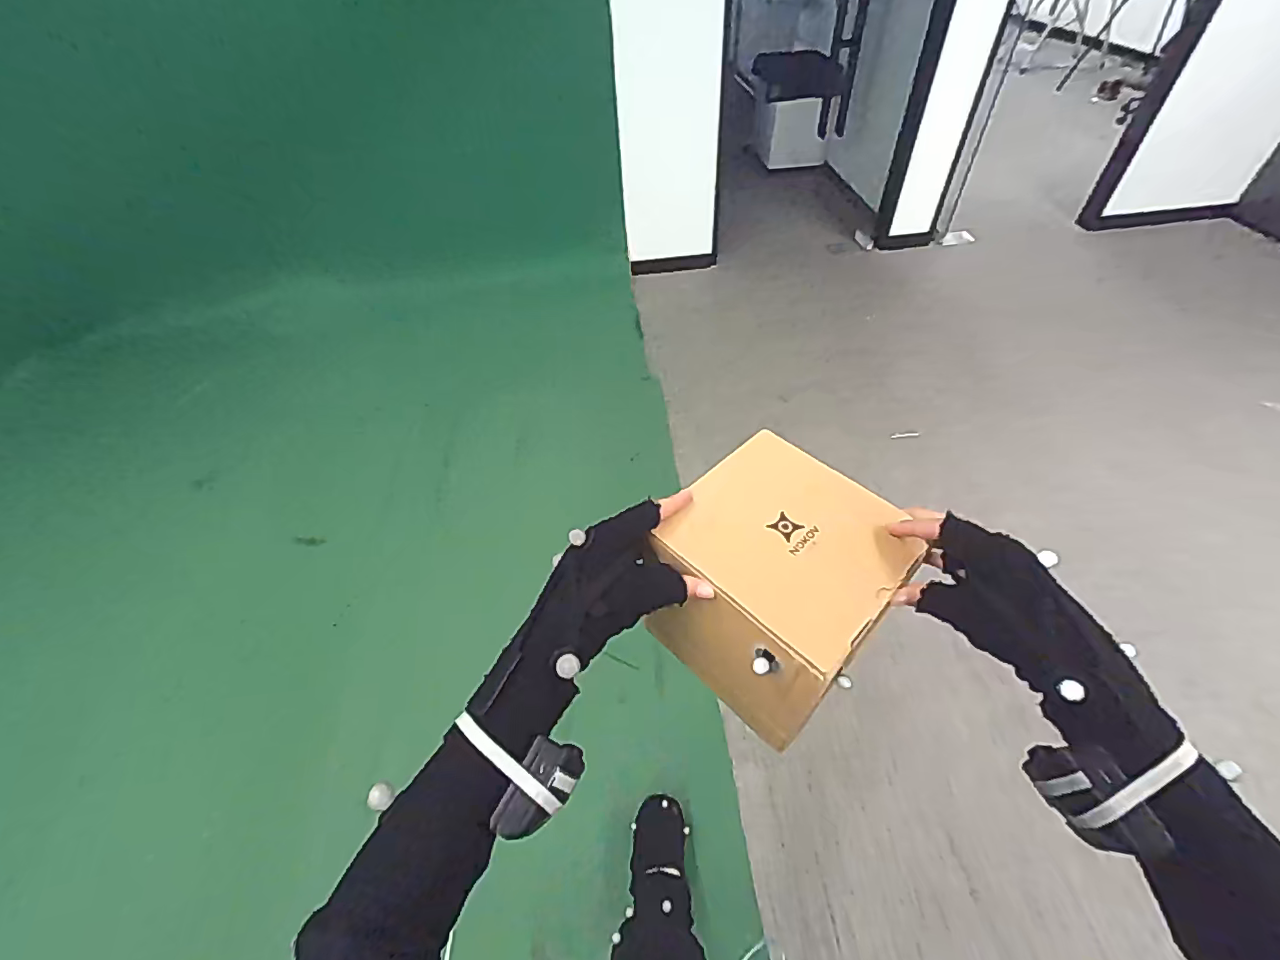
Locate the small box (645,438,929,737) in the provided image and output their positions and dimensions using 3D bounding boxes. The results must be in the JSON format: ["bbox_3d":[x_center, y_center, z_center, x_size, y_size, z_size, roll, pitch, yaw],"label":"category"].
[{"bbox_3d":[0.118,0.099,0.502,0.168,0.176,0.179,-36,57,-28],"label":"small box"}]
